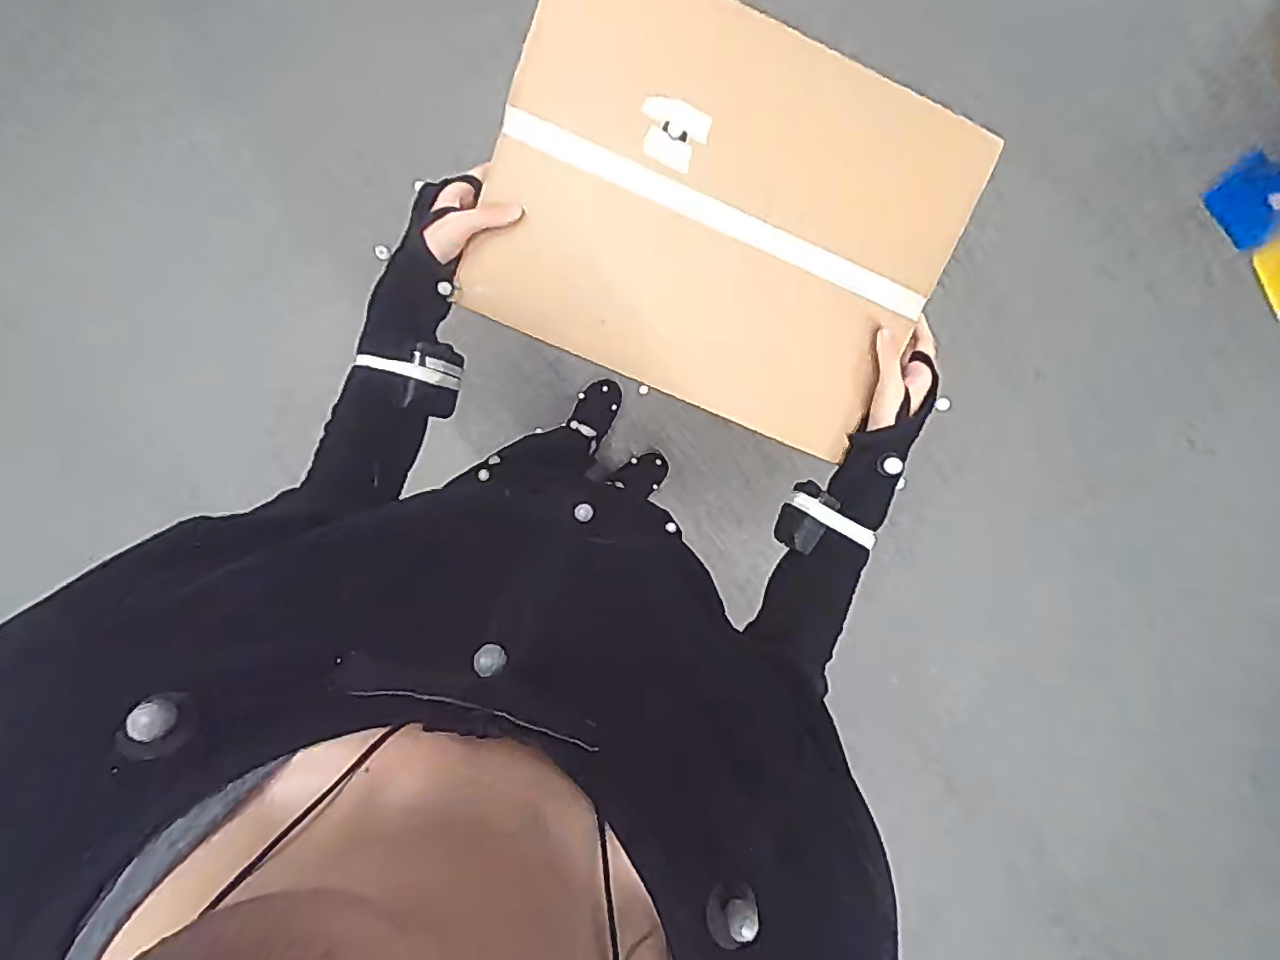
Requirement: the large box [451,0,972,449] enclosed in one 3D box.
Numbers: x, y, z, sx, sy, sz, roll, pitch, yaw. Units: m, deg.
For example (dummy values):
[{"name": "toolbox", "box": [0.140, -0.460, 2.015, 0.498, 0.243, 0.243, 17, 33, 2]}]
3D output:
[{"name": "large box", "box": [0.059, -0.269, 0.639, 0.408, 0.320, 0.320, 21, 101, -6]}]
